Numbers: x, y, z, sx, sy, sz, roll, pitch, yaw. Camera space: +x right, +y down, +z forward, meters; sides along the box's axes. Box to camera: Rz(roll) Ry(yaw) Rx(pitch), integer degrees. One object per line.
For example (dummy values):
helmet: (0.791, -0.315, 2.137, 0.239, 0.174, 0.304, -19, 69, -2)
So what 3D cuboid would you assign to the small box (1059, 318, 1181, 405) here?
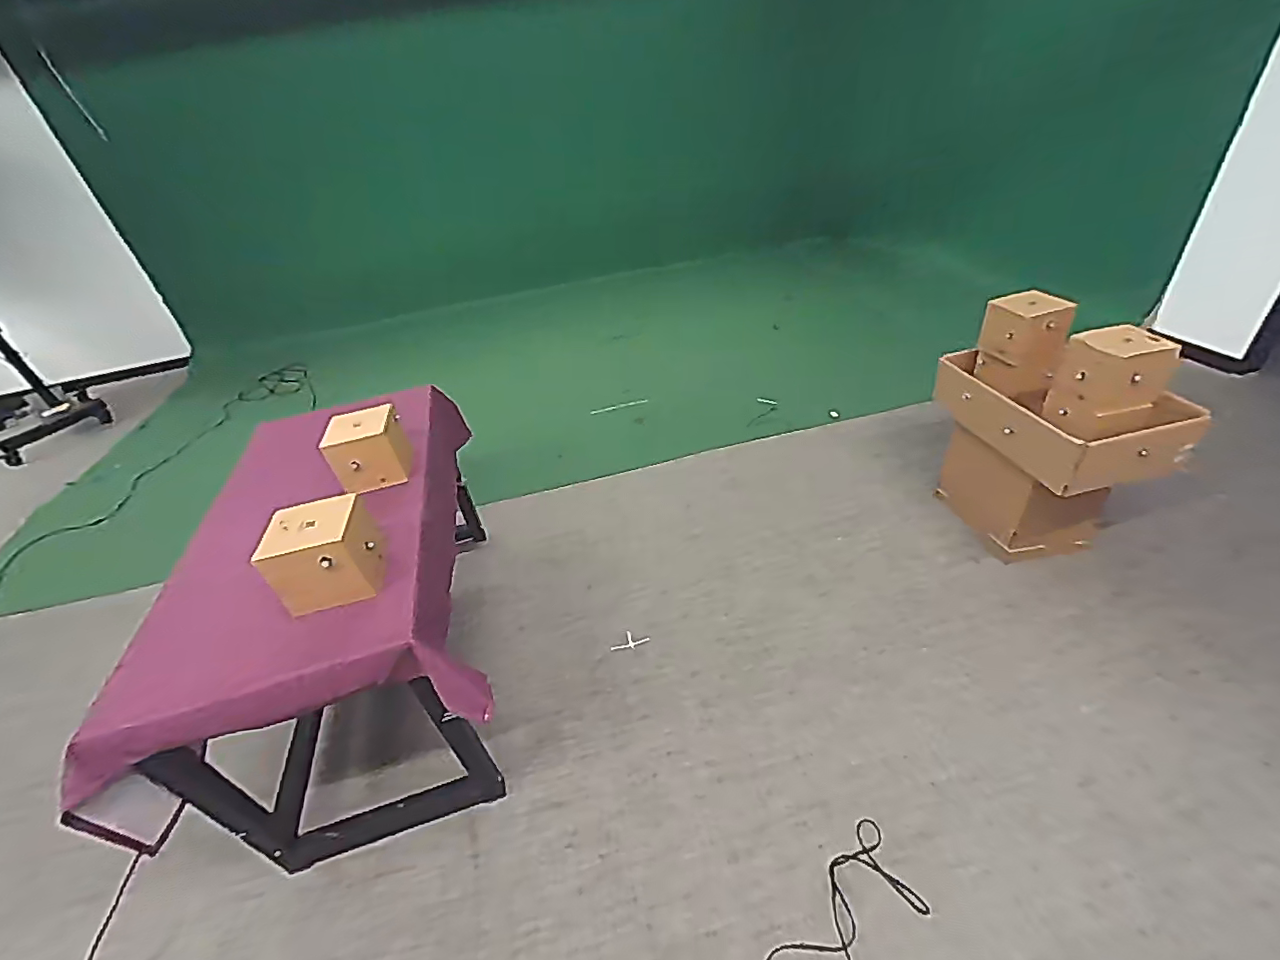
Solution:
small box: (1.310, -0.324, 1.497, 0.179, 0.176, 0.168, -12, 38, -2)

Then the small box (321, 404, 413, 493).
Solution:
small box: (-0.748, -0.082, 1.505, 0.168, 0.176, 0.179, -15, 37, -7)

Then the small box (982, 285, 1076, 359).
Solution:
small box: (1.249, -0.511, 1.756, 0.179, 0.176, 0.168, -15, 38, -8)

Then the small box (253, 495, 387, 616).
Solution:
small box: (-0.671, 0.162, 1.162, 0.179, 0.176, 0.168, -15, 36, -6)
